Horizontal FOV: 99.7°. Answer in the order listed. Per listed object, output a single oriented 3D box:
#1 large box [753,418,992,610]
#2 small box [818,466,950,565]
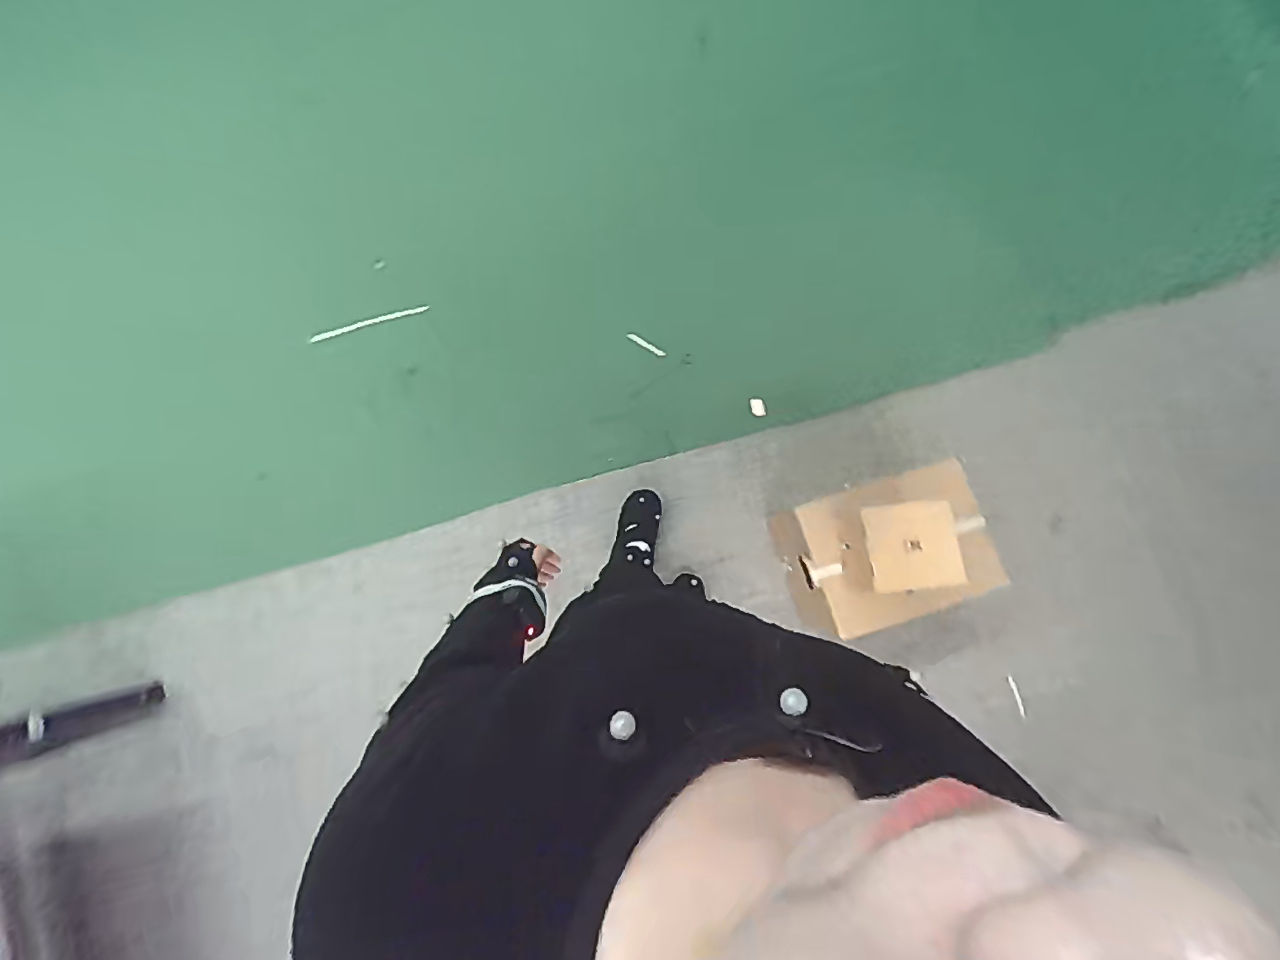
[{"bbox_3d":[0.554,0.096,1.372,0.408,0.320,0.320,-24,83,-3],"label":"large box"},{"bbox_3d":[0.498,0.077,1.129,0.179,0.176,0.168,-13,81,0],"label":"small box"}]
